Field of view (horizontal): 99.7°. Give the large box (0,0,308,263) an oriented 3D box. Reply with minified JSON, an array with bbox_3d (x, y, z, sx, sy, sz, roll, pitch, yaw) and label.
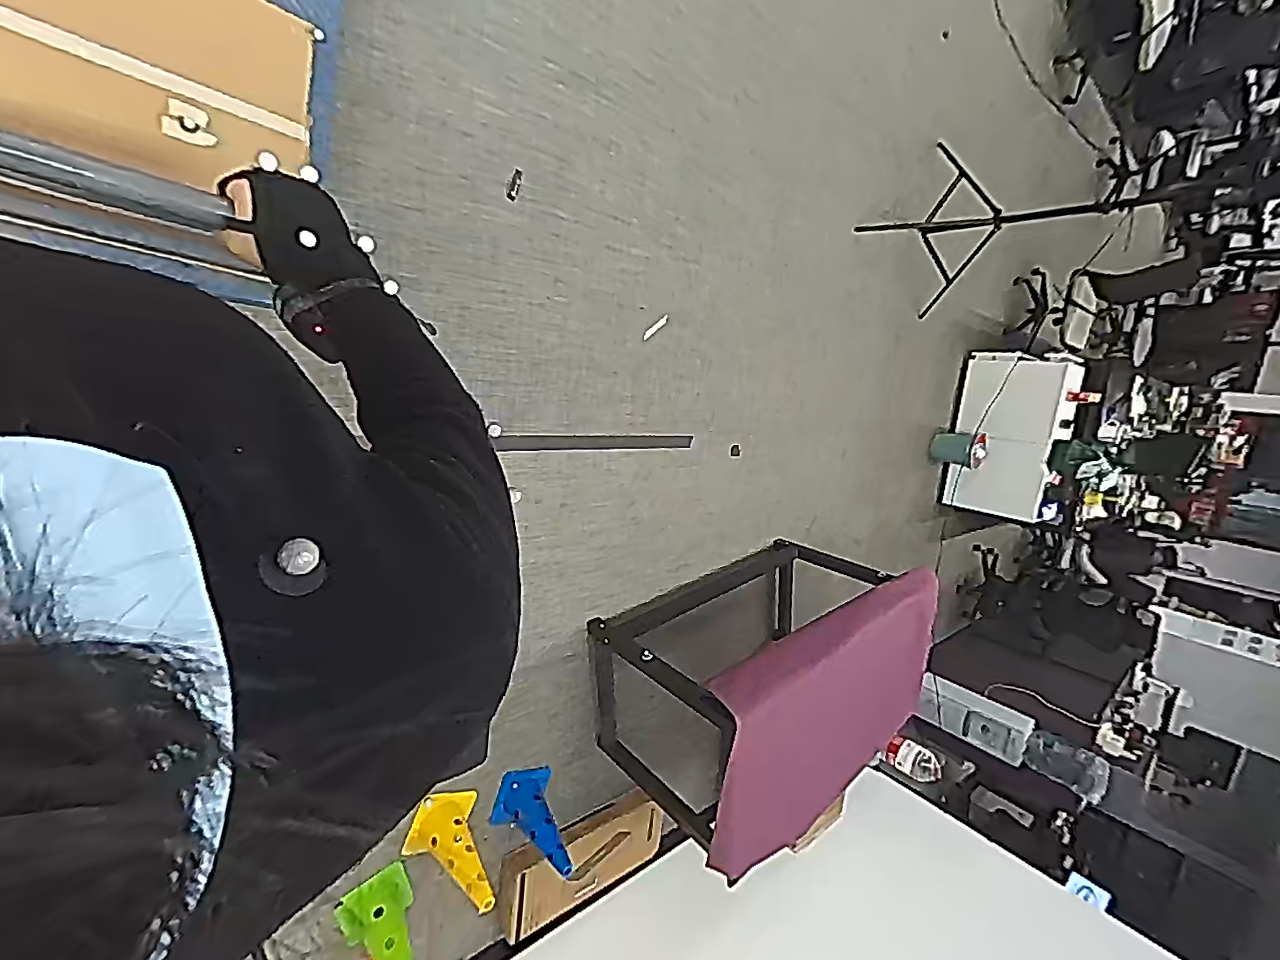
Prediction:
[{"bbox_3d":[-0.761,-0.548,0.799,0.408,0.320,0.320,3,100,-42],"label":"large box"}]
